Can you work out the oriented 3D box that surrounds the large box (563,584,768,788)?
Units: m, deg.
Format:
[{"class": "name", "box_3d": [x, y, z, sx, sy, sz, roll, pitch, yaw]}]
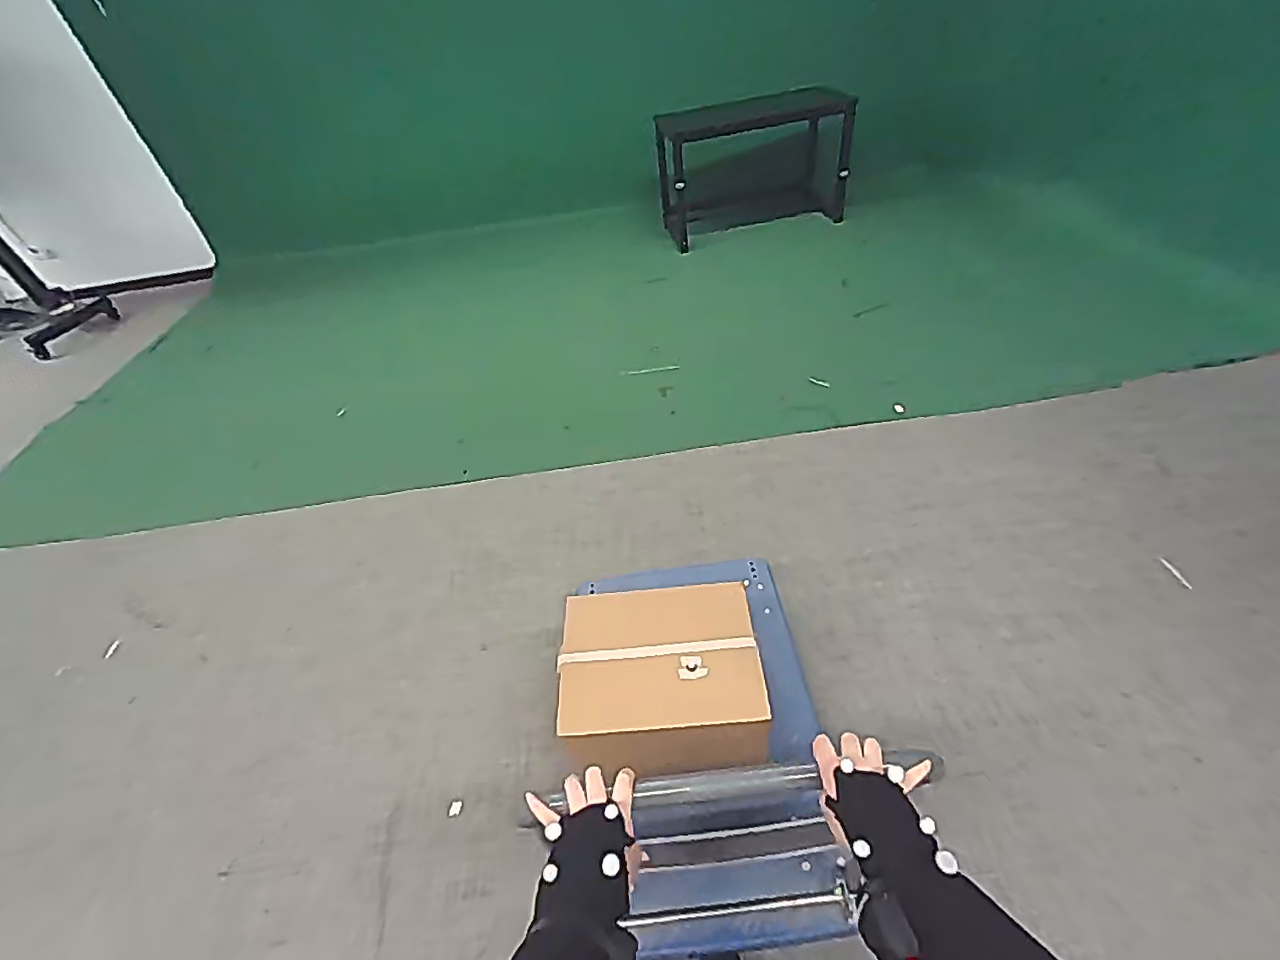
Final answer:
[{"class": "large box", "box_3d": [0.052, 0.472, 1.237, 0.408, 0.320, 0.320, -5, 43, 2]}]
